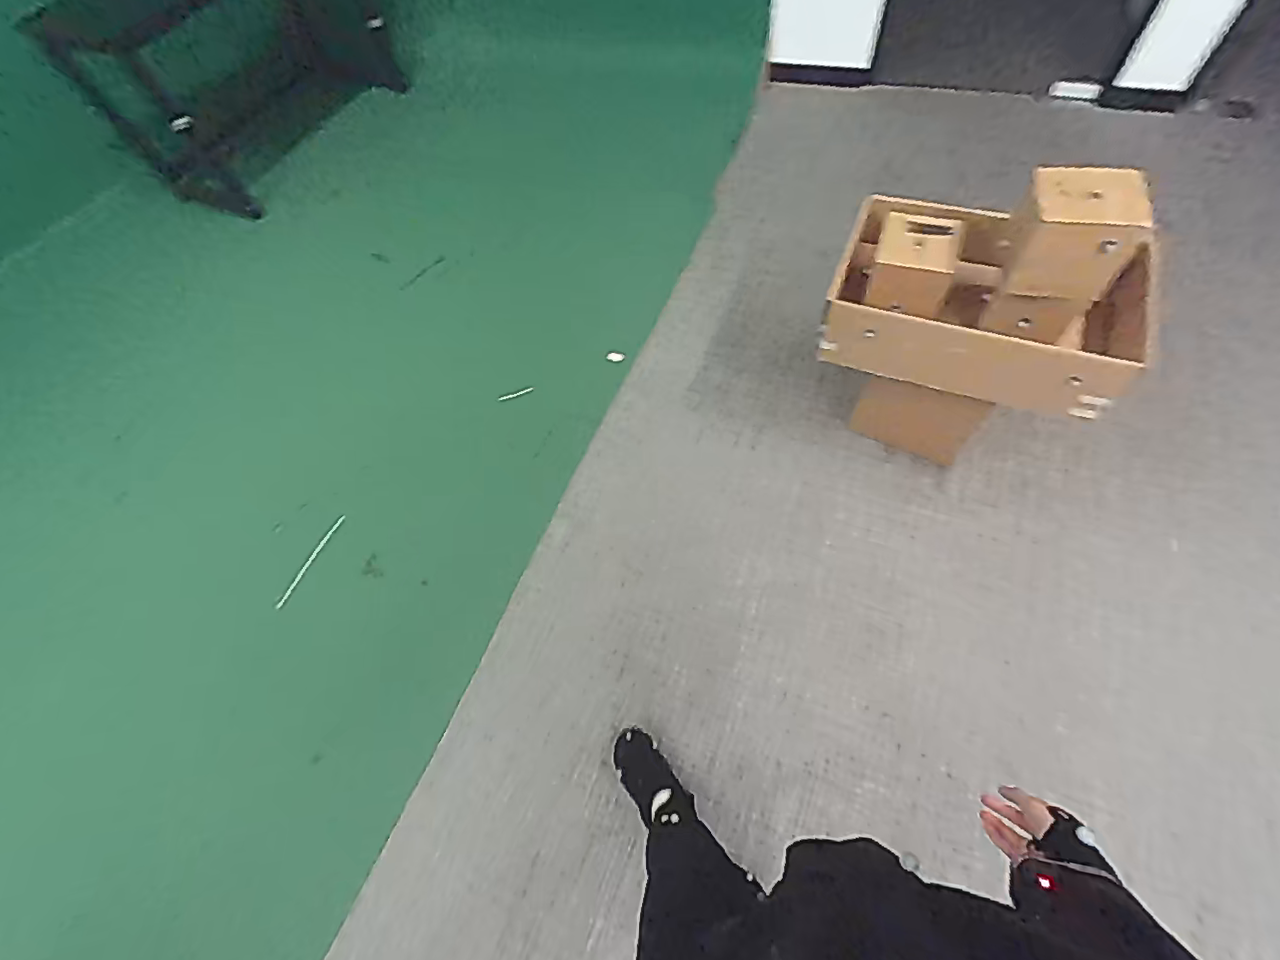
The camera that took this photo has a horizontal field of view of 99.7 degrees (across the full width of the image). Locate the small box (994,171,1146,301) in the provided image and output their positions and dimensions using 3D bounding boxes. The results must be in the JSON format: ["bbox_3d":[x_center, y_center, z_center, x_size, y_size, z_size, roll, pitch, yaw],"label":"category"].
[{"bbox_3d":[0.829,-0.475,1.063,0.179,0.176,0.168,10,62,14],"label":"small box"}]

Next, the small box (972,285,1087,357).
[{"bbox_3d":[0.878,-0.408,1.210,0.168,0.176,0.179,28,69,21],"label":"small box"}]
